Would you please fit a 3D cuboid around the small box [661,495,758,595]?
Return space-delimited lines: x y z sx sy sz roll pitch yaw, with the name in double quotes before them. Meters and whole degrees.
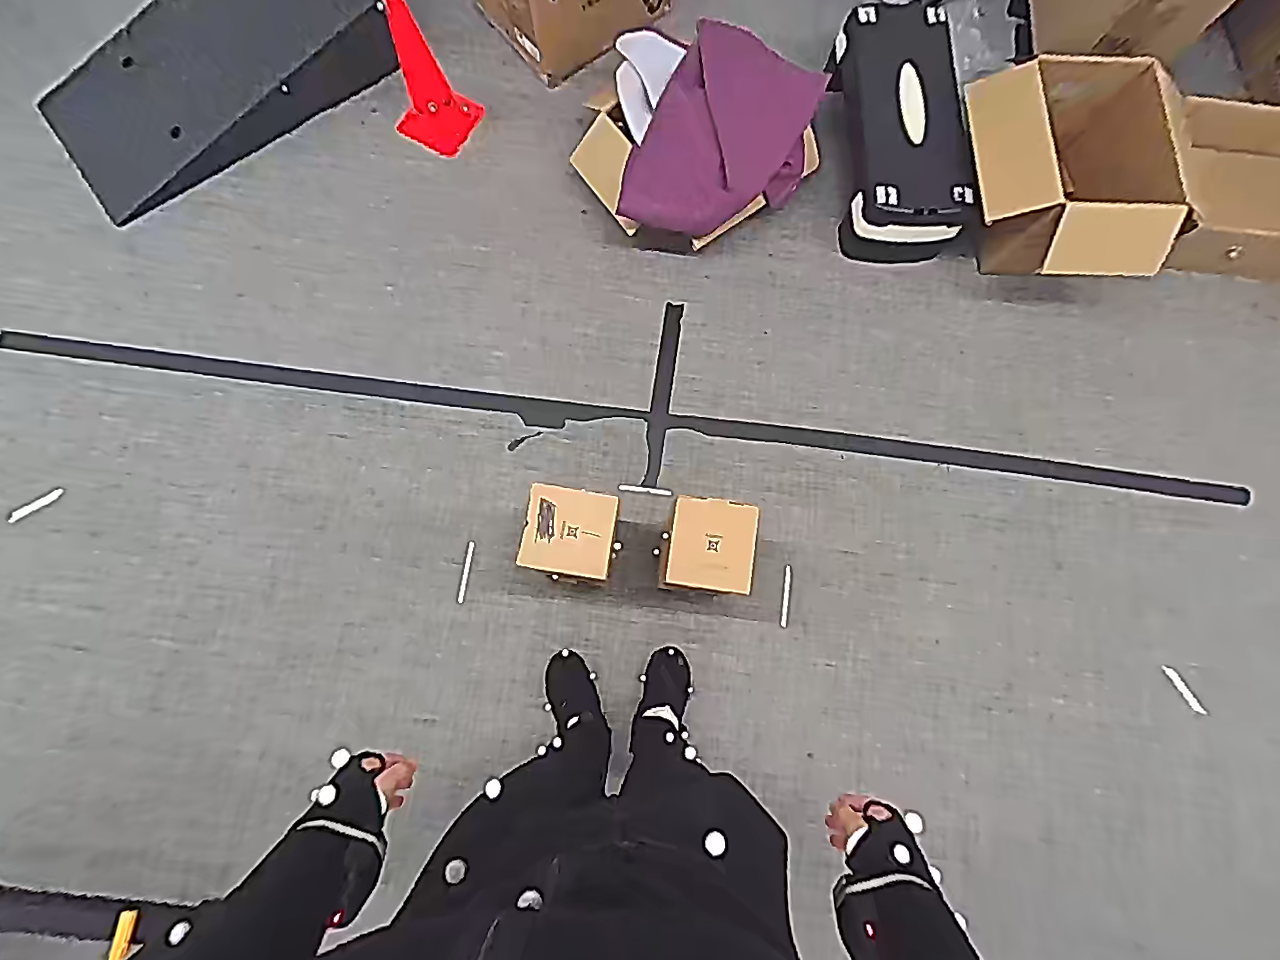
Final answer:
"small box" 0.137 0.139 1.125 0.168 0.176 0.179 8 80 0

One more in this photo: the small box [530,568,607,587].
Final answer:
"small box" -0.150 0.152 1.279 0.168 0.176 0.179 10 79 0

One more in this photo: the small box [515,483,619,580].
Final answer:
"small box" -0.142 0.113 1.117 0.179 0.176 0.168 10 79 0

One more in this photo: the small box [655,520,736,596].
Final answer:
"small box" 0.135 0.181 1.282 0.179 0.176 0.168 7 79 -1
